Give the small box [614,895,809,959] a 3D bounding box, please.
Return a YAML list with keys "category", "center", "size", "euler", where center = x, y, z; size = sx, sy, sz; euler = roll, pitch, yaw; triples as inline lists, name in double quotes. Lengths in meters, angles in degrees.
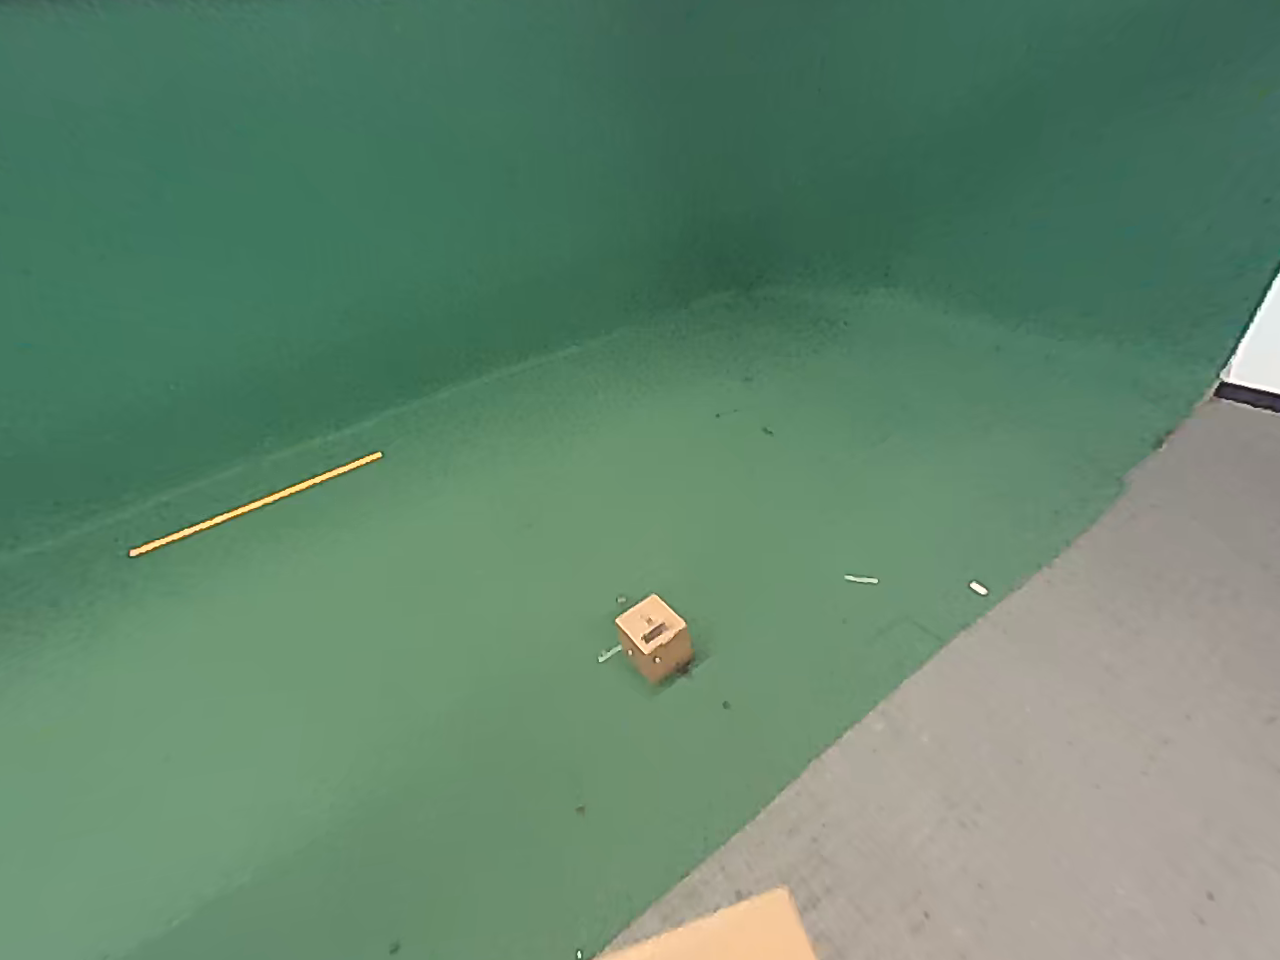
- category: "small box"
  center: [0.047, 0.405, 0.322]
  size: [0.168, 0.176, 0.179]
  euler: [-14, 36, -11]
